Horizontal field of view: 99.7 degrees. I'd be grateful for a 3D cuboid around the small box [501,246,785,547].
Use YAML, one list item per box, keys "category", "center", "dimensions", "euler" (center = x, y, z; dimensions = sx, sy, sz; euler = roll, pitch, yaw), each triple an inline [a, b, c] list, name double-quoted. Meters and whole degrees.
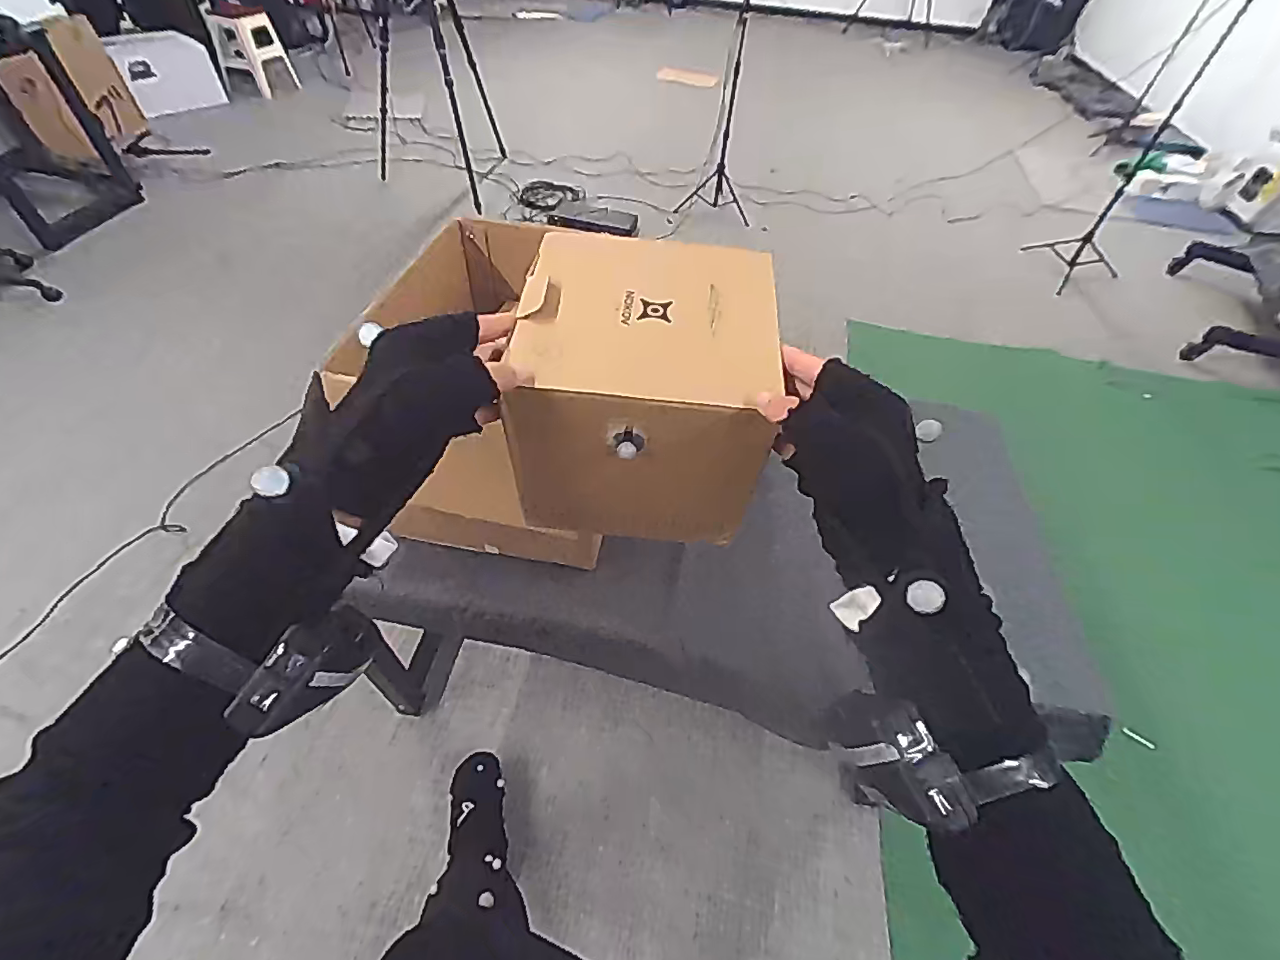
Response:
- category: "small box"
  center: [0.003, -0.060, 0.434]
  dimensions: [0.179, 0.176, 0.168]
  euler: [6, 55, -1]
